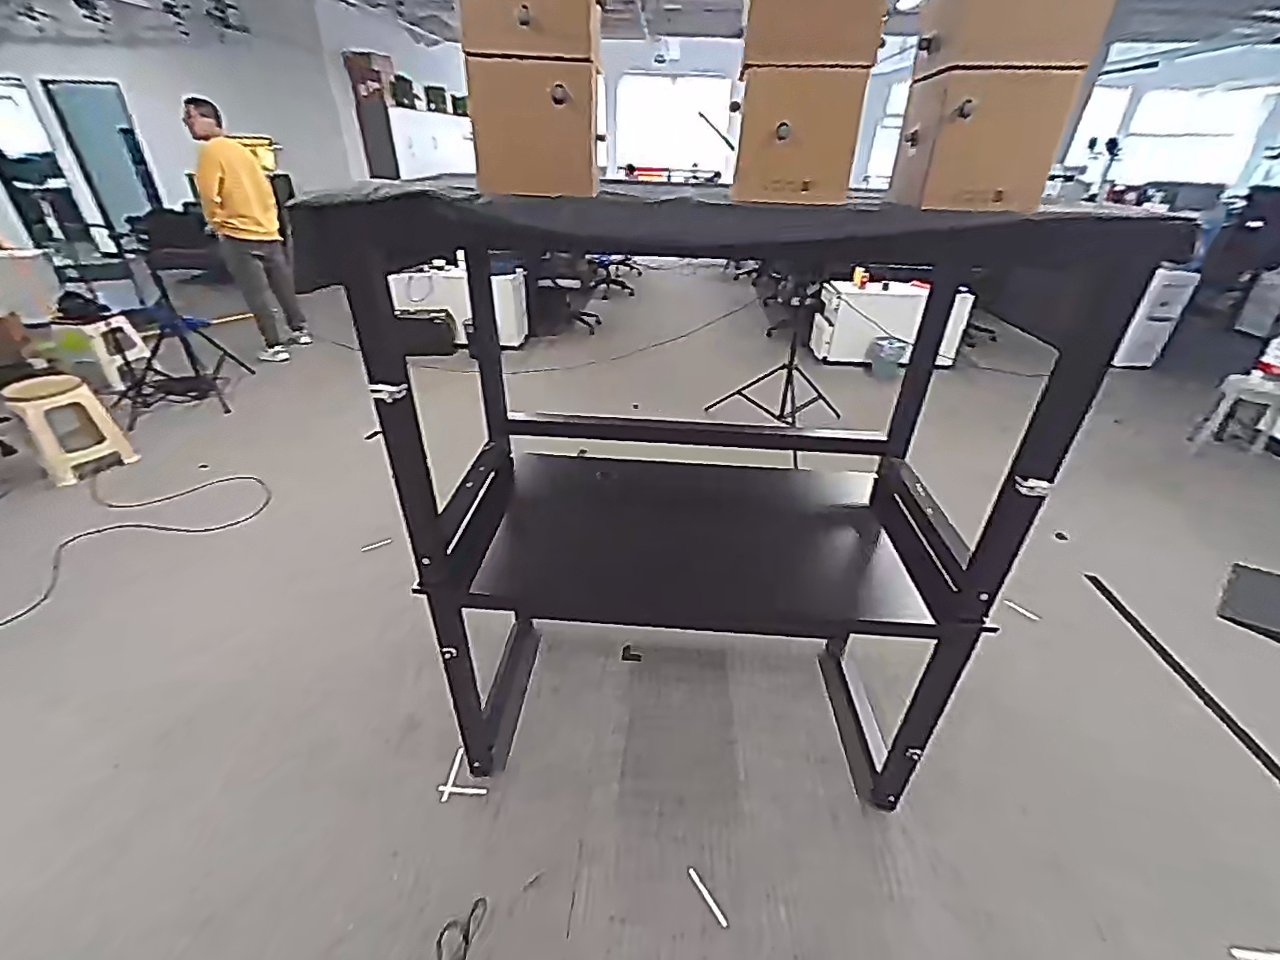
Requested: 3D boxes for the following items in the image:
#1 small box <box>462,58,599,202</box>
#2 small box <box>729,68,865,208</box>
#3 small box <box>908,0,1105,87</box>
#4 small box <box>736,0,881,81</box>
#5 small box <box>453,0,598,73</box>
[{"bbox_3d":[-0.154,-0.527,0.830,0.179,0.176,0.168,1,30,-1],"label":"small box"},{"bbox_3d":[0.229,-0.518,0.835,0.168,0.176,0.179,5,30,5],"label":"small box"},{"bbox_3d":[0.489,-0.635,0.719,0.179,0.176,0.168,2,29,4],"label":"small box"},{"bbox_3d":[0.230,-0.656,0.743,0.179,0.176,0.168,3,29,6],"label":"small box"},{"bbox_3d":[-0.150,-0.666,0.743,0.179,0.176,0.168,3,30,-1],"label":"small box"}]
